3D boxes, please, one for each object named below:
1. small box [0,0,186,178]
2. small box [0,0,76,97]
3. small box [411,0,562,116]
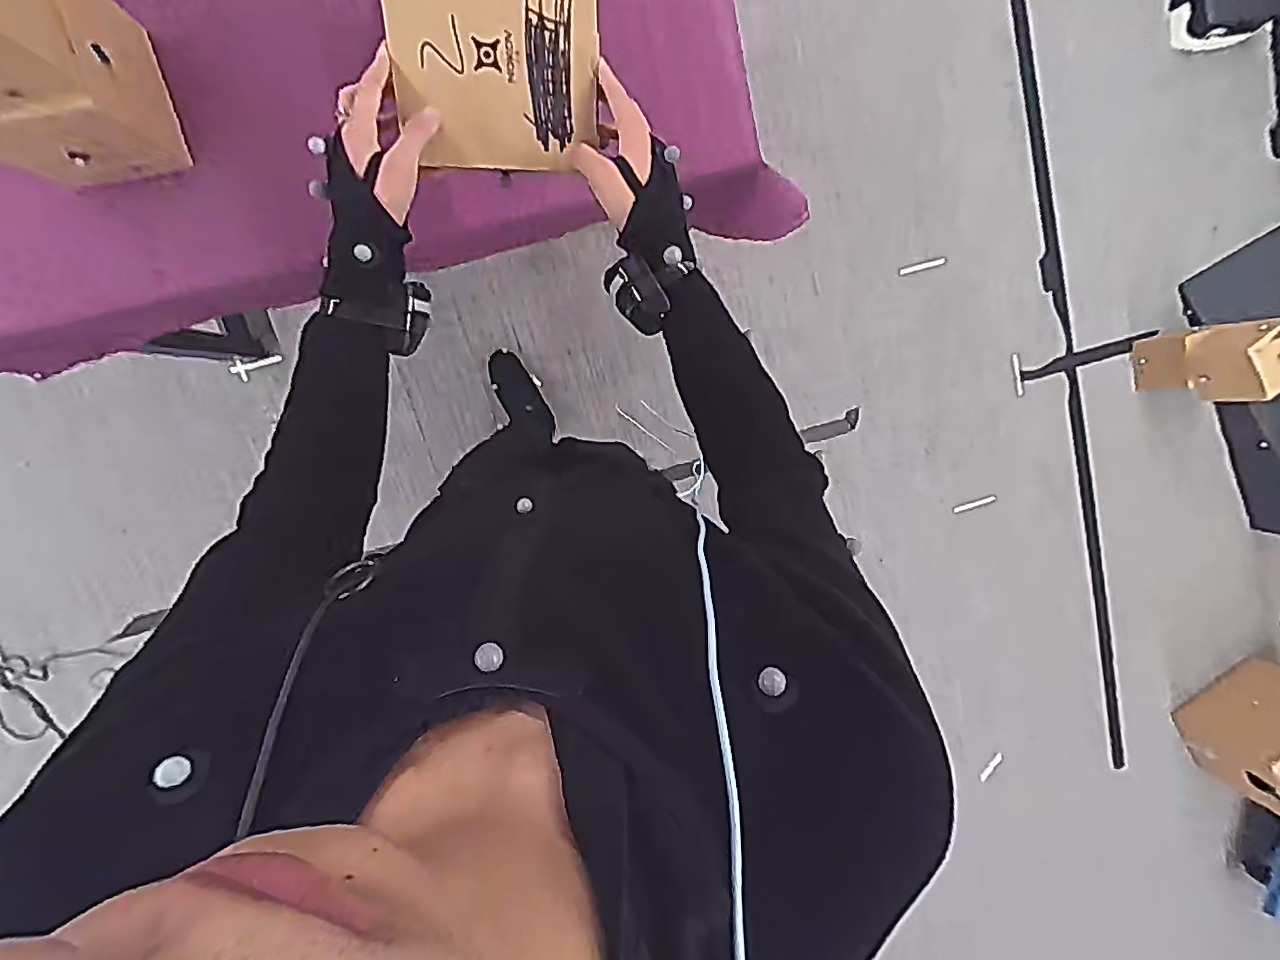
[{"bbox_3d":[-0.702,-0.485,0.645,0.168,0.176,0.179,-14,101,-7],"label":"small box"},{"bbox_3d":[-0.686,-0.469,0.482,0.168,0.176,0.179,-18,101,-5],"label":"small box"},{"bbox_3d":[-0.199,-0.606,0.701,0.168,0.176,0.179,-14,100,-5],"label":"small box"}]
